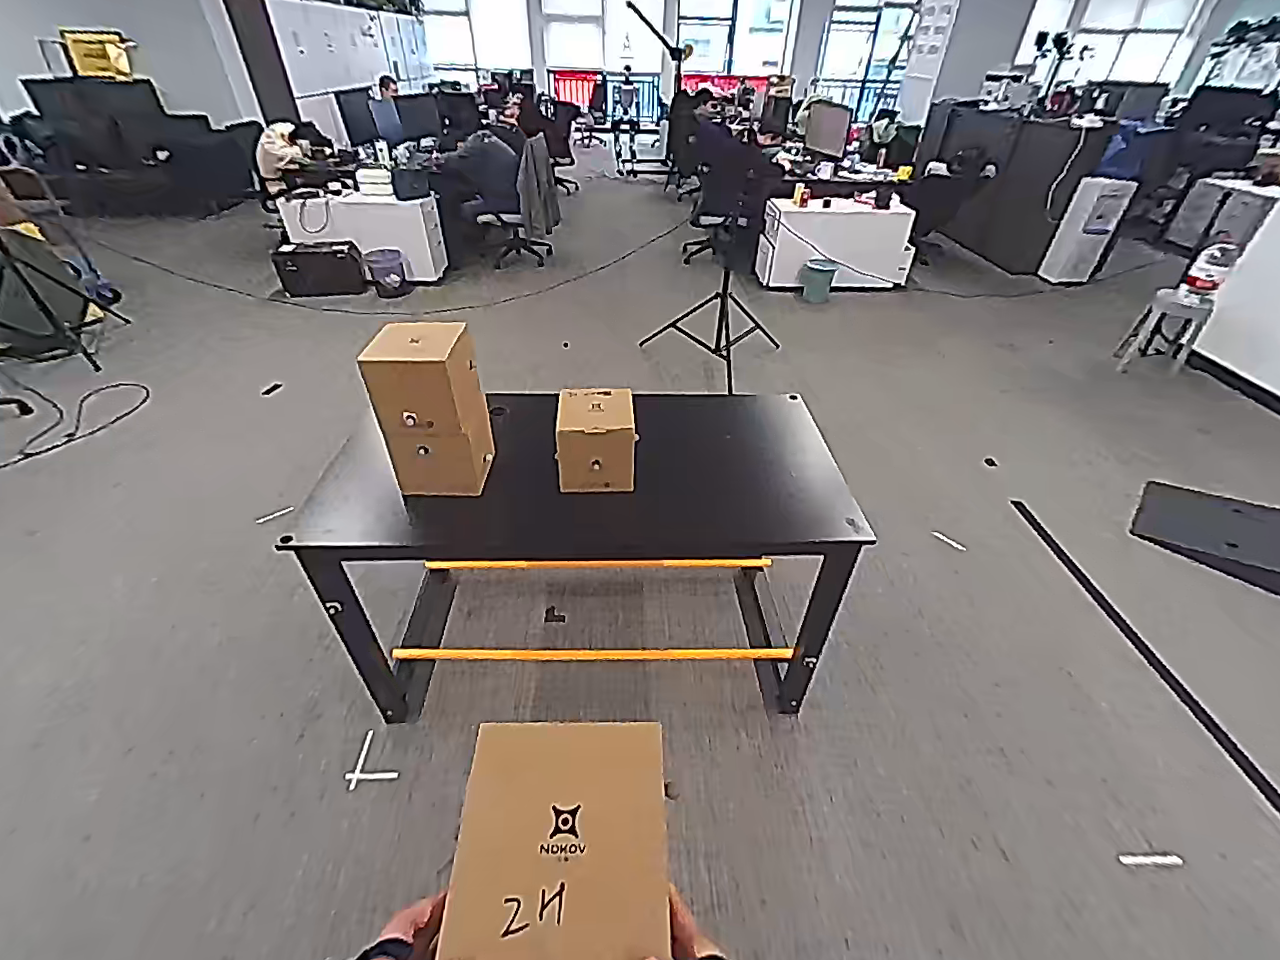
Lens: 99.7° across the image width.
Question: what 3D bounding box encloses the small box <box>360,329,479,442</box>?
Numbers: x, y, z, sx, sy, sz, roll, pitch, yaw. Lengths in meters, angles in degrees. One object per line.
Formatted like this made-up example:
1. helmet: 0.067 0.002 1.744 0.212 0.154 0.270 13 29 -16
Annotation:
1. small box: -0.438 -0.196 1.107 0.168 0.176 0.179 -1 39 -1

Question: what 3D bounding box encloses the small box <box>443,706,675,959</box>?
1. small box: -0.060 0.327 0.490 0.168 0.176 0.179 0 44 -1

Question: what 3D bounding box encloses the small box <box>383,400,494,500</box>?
1. small box: -0.439 -0.069 1.209 0.179 0.176 0.168 1 38 -2

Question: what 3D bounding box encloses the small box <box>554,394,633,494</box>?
1. small box: -0.102 -0.079 1.236 0.168 0.176 0.179 -1 38 -3
